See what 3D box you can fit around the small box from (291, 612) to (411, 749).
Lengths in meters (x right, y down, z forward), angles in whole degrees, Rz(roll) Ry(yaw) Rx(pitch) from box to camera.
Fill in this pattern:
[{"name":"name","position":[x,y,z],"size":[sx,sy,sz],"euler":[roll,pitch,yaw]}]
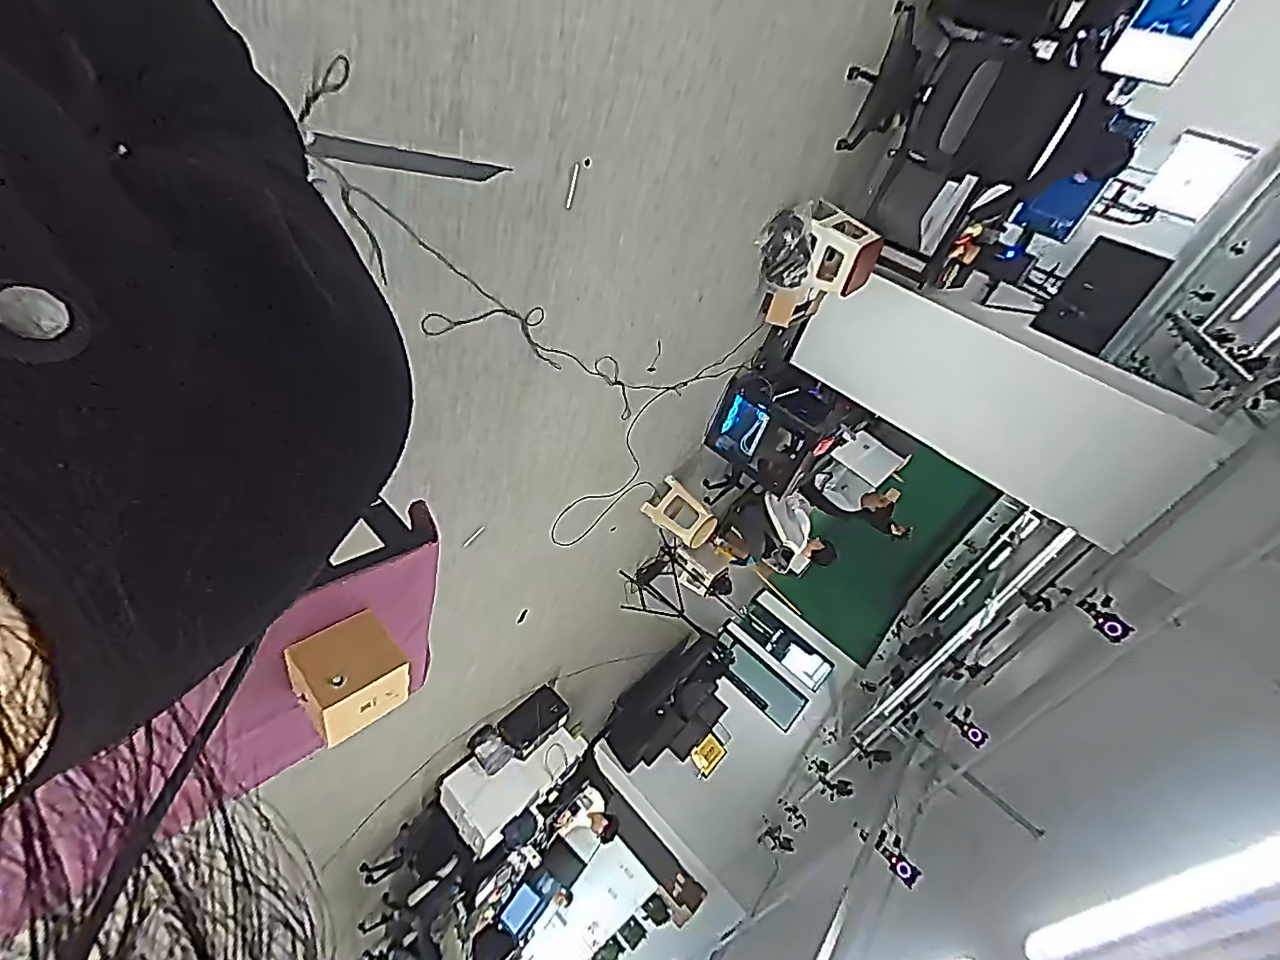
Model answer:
[{"name":"small box","position":[-0.615,0.420,1.151],"size":[0.179,0.176,0.168],"euler":[-27,148,-44]}]
